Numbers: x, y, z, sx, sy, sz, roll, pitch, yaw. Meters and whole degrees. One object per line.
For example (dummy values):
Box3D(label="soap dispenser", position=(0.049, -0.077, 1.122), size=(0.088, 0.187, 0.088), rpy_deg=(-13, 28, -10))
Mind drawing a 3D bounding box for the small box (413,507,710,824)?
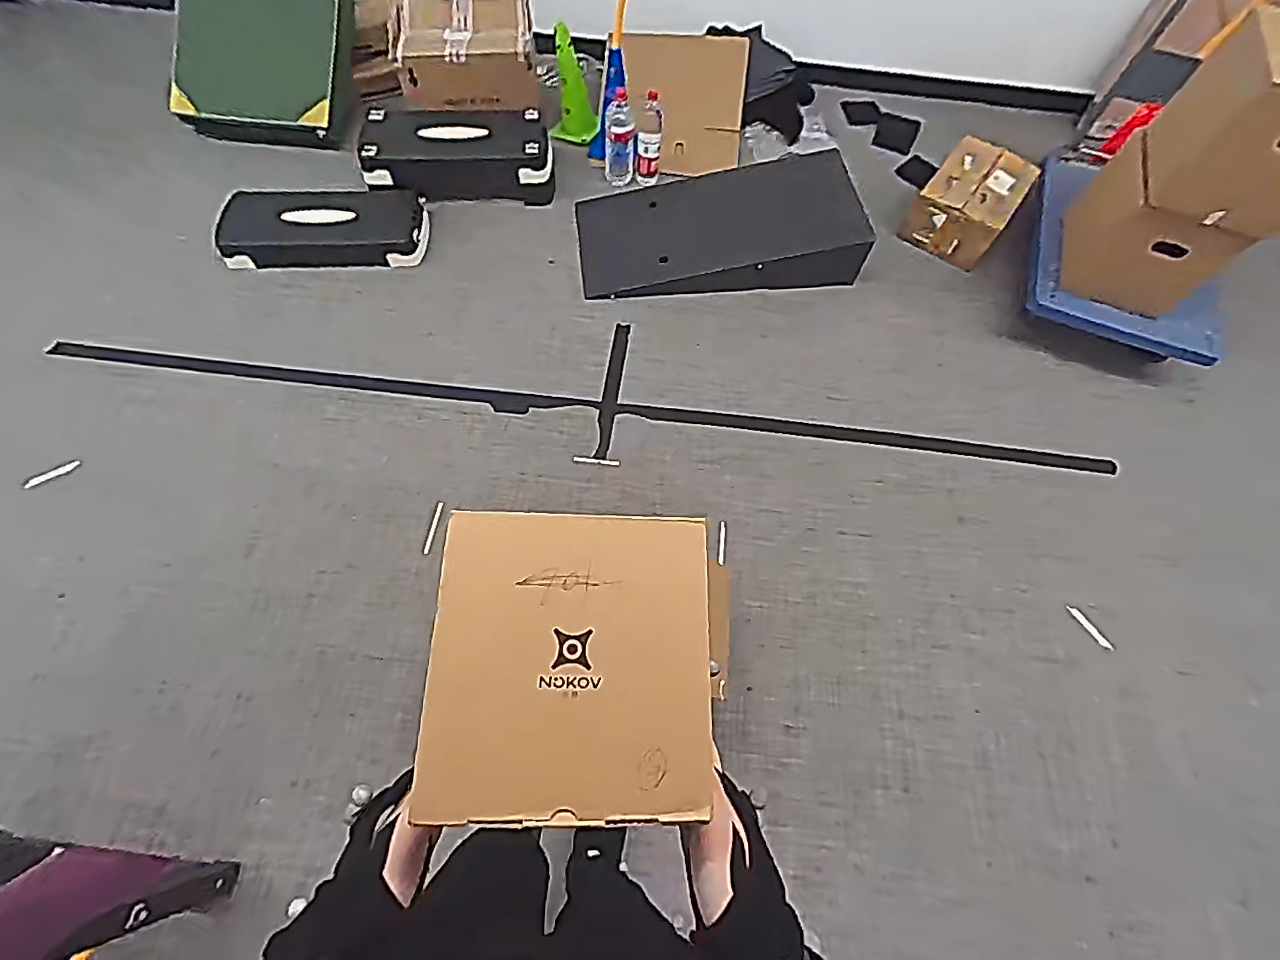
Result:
Box3D(label="small box", position=(-0.045, 0.129, 0.396), size=(0.168, 0.176, 0.179), rpy_deg=(3, 70, -4))
